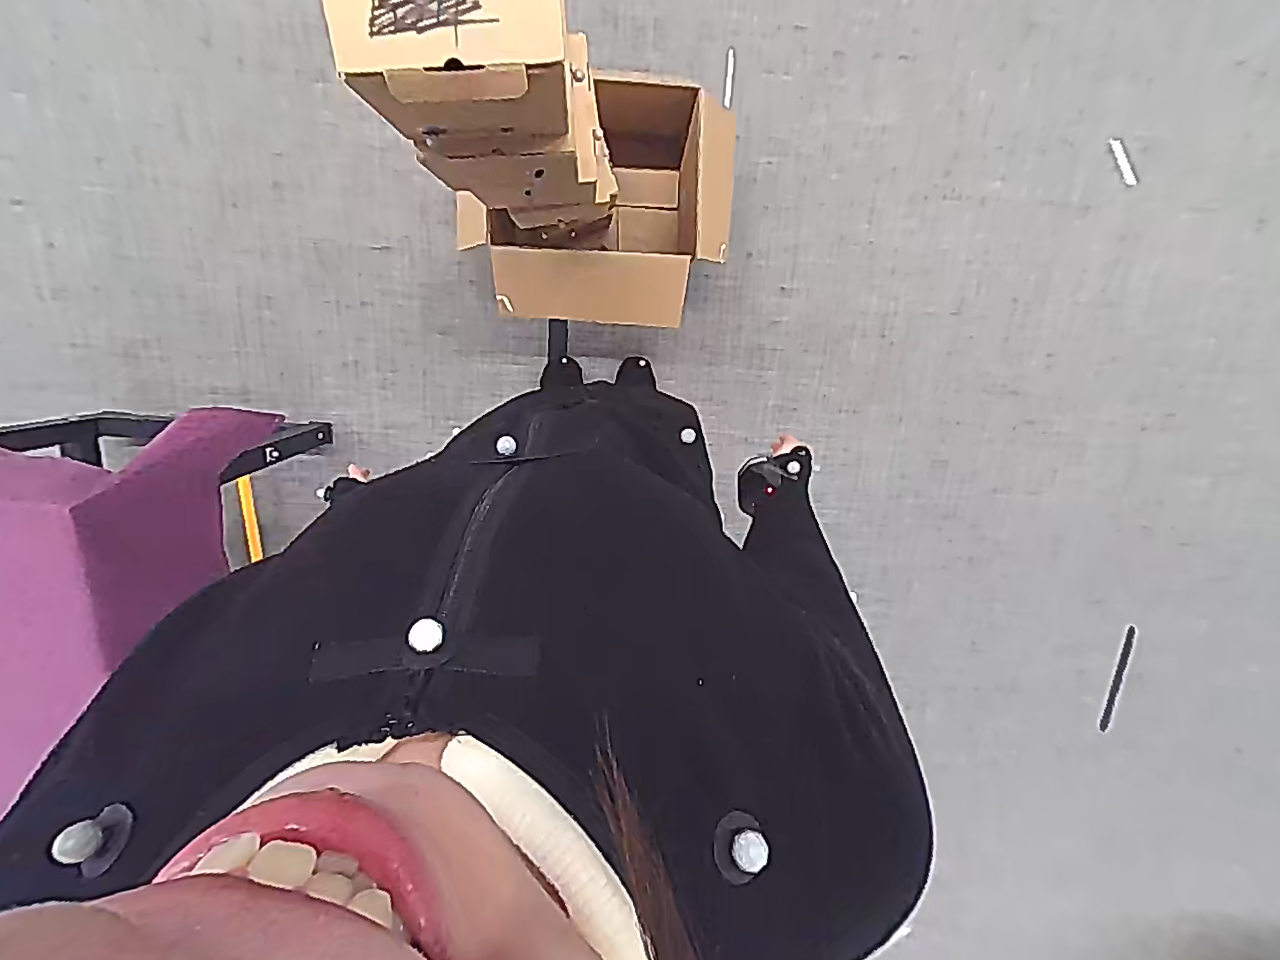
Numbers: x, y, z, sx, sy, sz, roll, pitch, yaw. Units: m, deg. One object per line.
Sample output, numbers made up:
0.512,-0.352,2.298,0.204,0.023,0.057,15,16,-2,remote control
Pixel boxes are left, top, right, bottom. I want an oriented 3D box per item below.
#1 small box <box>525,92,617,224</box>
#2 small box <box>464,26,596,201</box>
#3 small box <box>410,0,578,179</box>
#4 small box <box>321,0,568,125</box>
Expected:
-0.154,-0.621,1.061,0.179,0.176,0.168,-19,109,0,small box
-0.154,-0.496,0.755,0.179,0.176,0.168,-5,110,-4,small box
-0.158,-0.444,0.600,0.168,0.176,0.179,-4,109,-5,small box
-0.150,-0.408,0.439,0.168,0.176,0.179,-6,109,-5,small box
